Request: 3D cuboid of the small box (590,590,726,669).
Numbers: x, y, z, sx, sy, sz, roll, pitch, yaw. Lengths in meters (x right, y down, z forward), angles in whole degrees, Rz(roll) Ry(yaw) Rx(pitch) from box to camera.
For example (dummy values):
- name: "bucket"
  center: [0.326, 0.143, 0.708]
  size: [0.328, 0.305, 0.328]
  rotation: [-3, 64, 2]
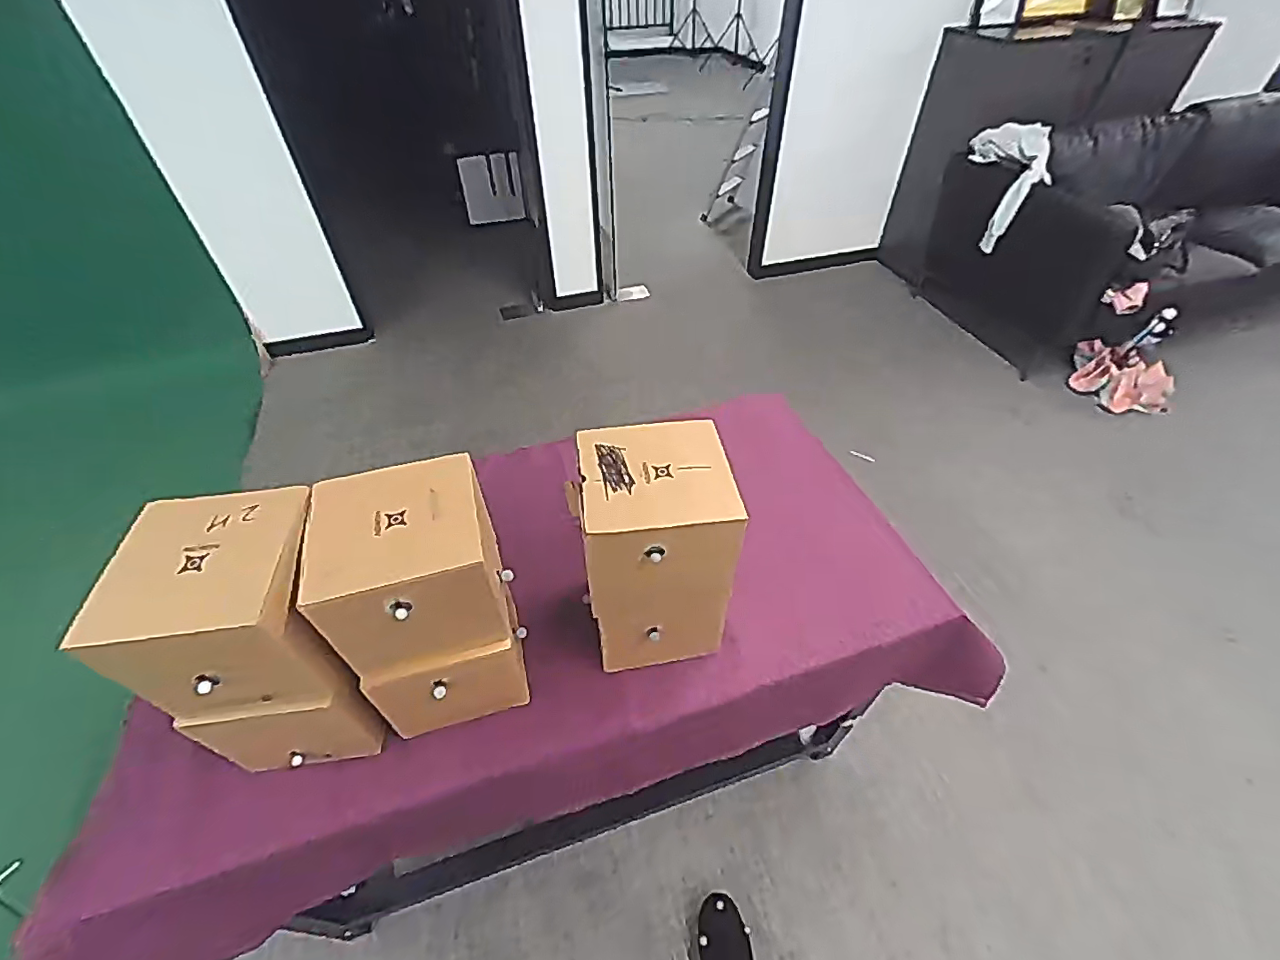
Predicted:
- name: "small box"
  center: [0.015, 0.158, 0.792]
  size: [0.179, 0.176, 0.168]
  rotation: [-8, 47, -7]

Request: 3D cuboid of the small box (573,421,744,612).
- name: "small box"
  center: [0.015, 0.048, 0.670]
  size: [0.179, 0.176, 0.168]
  rotation: [-5, 46, -6]
